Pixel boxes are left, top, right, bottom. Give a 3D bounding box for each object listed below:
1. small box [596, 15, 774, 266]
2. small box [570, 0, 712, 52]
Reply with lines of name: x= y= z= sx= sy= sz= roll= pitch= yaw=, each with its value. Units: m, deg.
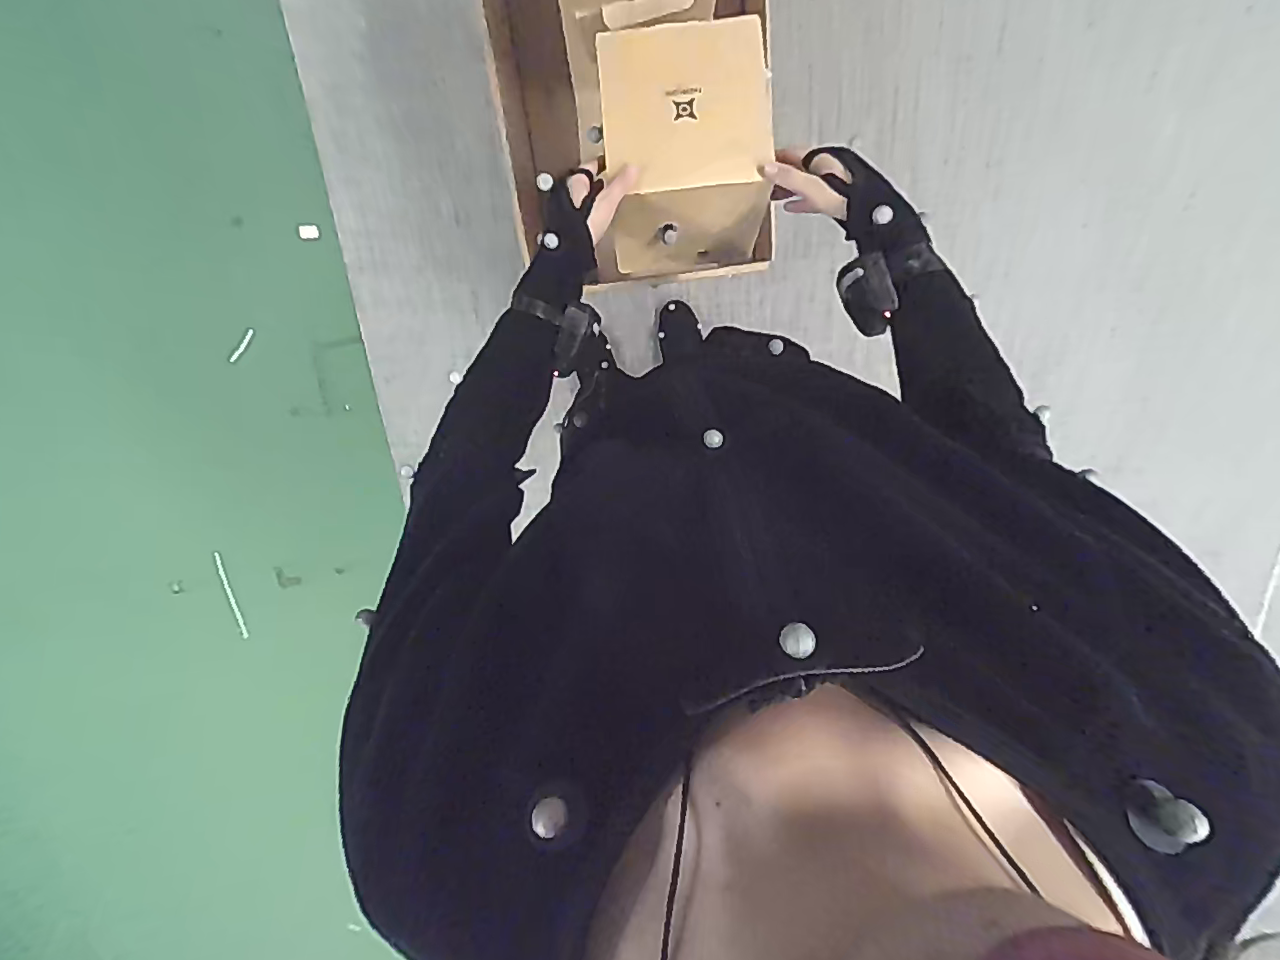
small box: x=0.047 y=-0.357 z=0.605 sx=0.168 sy=0.176 sz=0.179 roll=-5 pitch=84 yaw=2
small box: x=-0.006 y=-0.632 z=0.629 sx=0.168 sy=0.176 sz=0.179 roll=-10 pitch=111 yaw=6
